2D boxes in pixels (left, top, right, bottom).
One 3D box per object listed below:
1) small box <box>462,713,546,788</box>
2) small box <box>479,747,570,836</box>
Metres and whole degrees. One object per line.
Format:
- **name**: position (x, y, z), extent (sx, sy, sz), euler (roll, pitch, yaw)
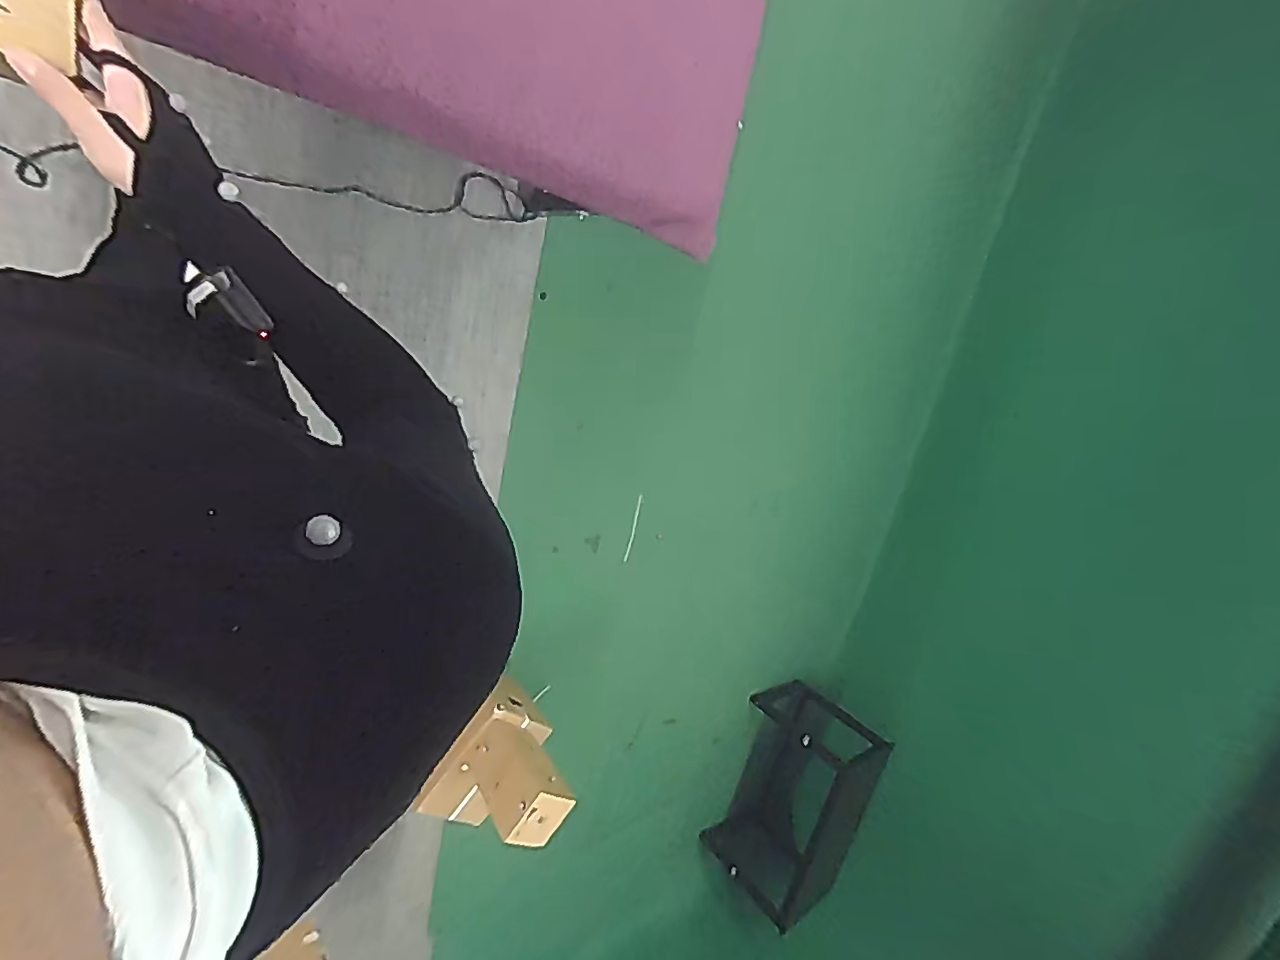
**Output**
- **small box**: position (-0.452, 0.905, 1.788), extent (0.168, 0.176, 0.179), euler (-51, 133, -9)
- **small box**: position (-0.356, 0.956, 1.665), extent (0.168, 0.176, 0.179), euler (-51, 134, -9)
